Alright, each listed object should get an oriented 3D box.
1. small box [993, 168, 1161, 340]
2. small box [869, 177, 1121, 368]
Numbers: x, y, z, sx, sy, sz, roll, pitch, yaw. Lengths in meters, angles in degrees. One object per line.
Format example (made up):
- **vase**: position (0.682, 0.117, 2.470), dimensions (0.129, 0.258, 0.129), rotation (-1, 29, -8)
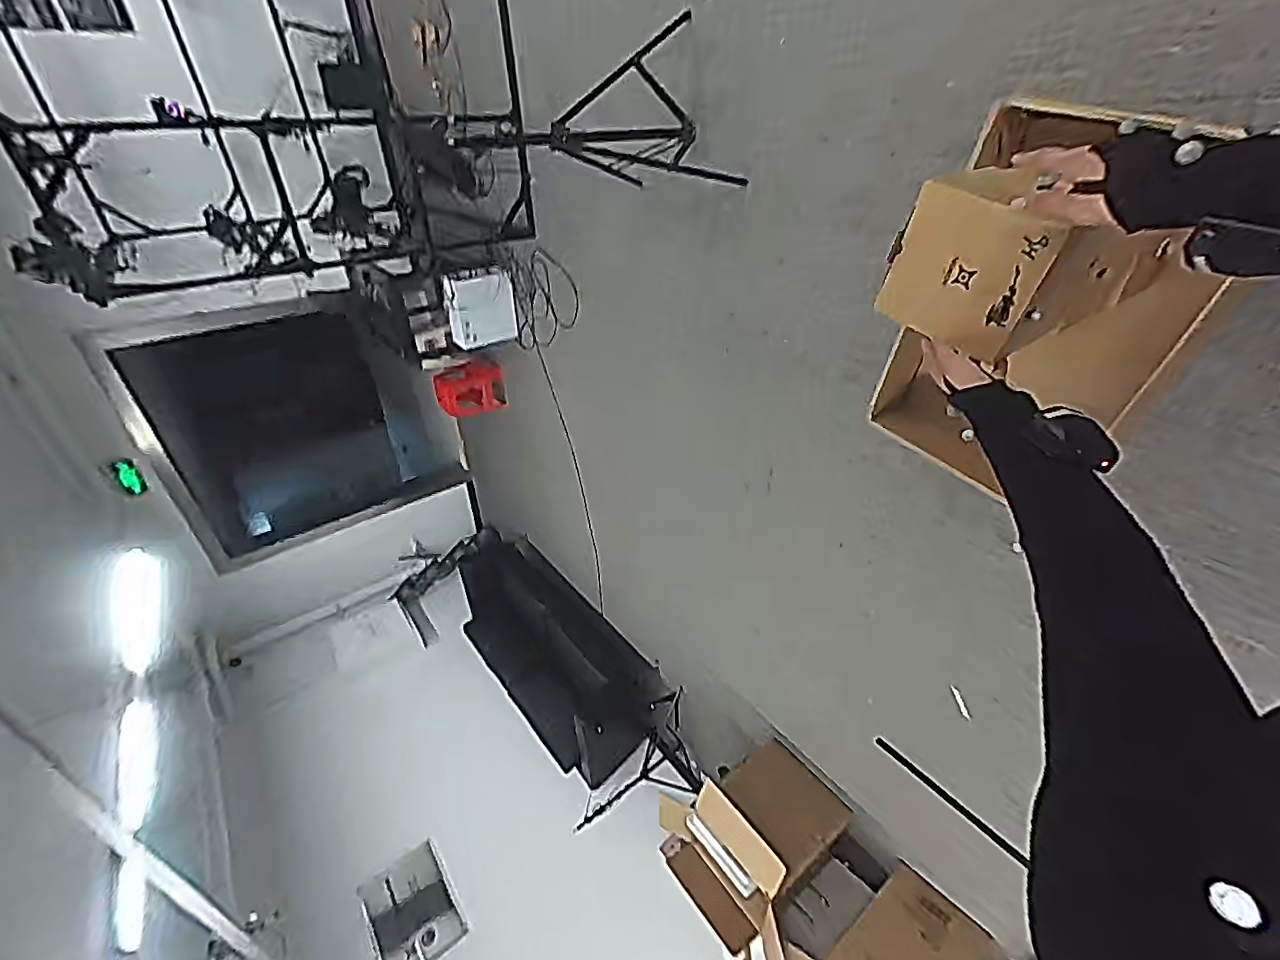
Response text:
- **small box**: position (0.572, -0.324, 0.763), dimensions (0.168, 0.176, 0.179), rotation (41, 142, 38)
- **small box**: position (0.438, -0.271, 0.685), dimensions (0.179, 0.176, 0.168), rotation (46, 146, 34)
